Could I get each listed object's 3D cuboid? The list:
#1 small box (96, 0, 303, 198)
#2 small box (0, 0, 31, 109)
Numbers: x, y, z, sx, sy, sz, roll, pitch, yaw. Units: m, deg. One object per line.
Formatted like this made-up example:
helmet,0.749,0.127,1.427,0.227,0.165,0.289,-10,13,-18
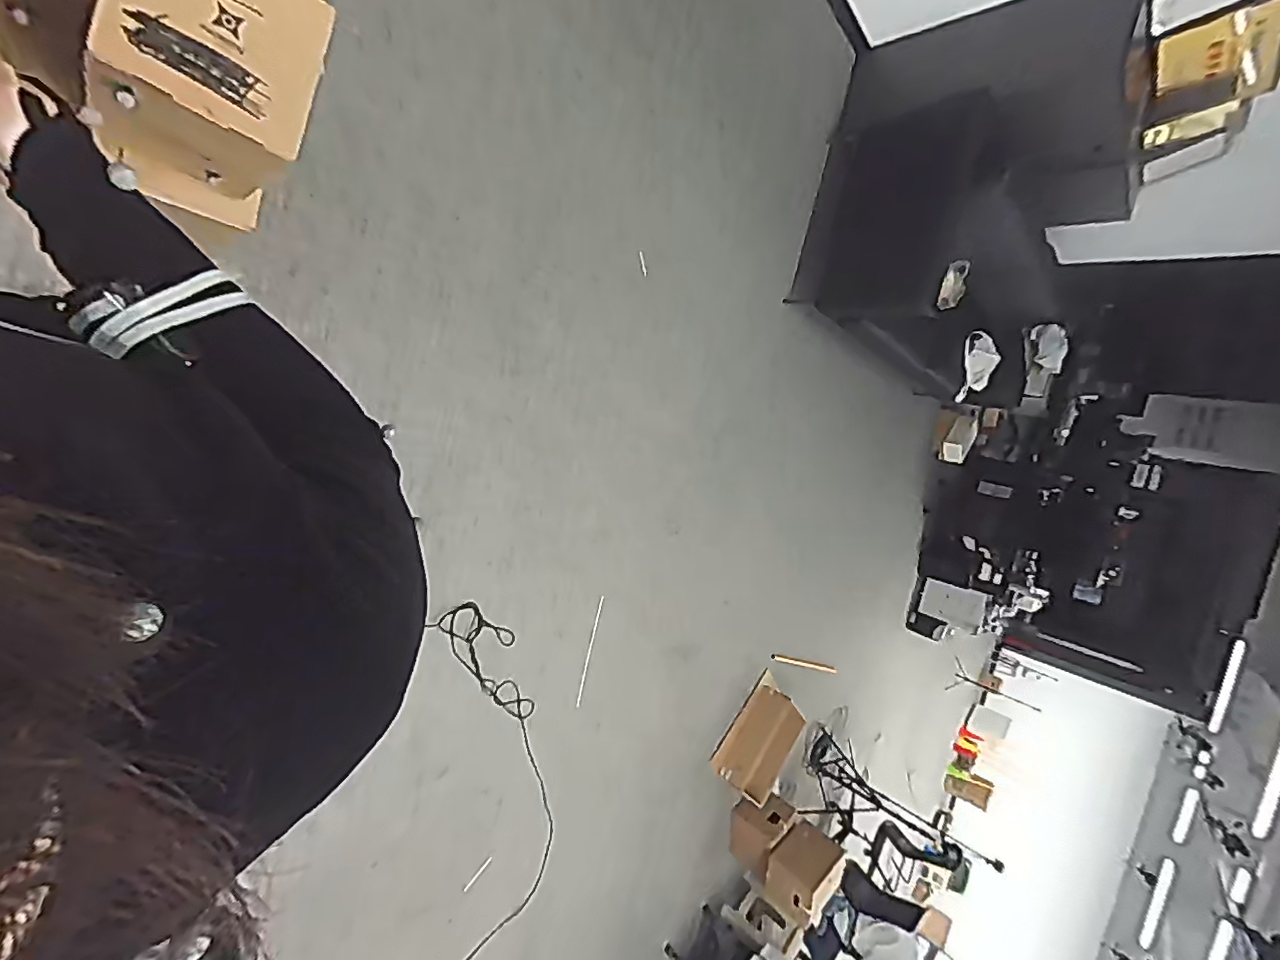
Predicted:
small box,-0.569,-0.497,0.702,0.168,0.176,0.179,15,91,-46
small box,-0.733,-0.513,0.531,0.168,0.176,0.179,10,97,-48
